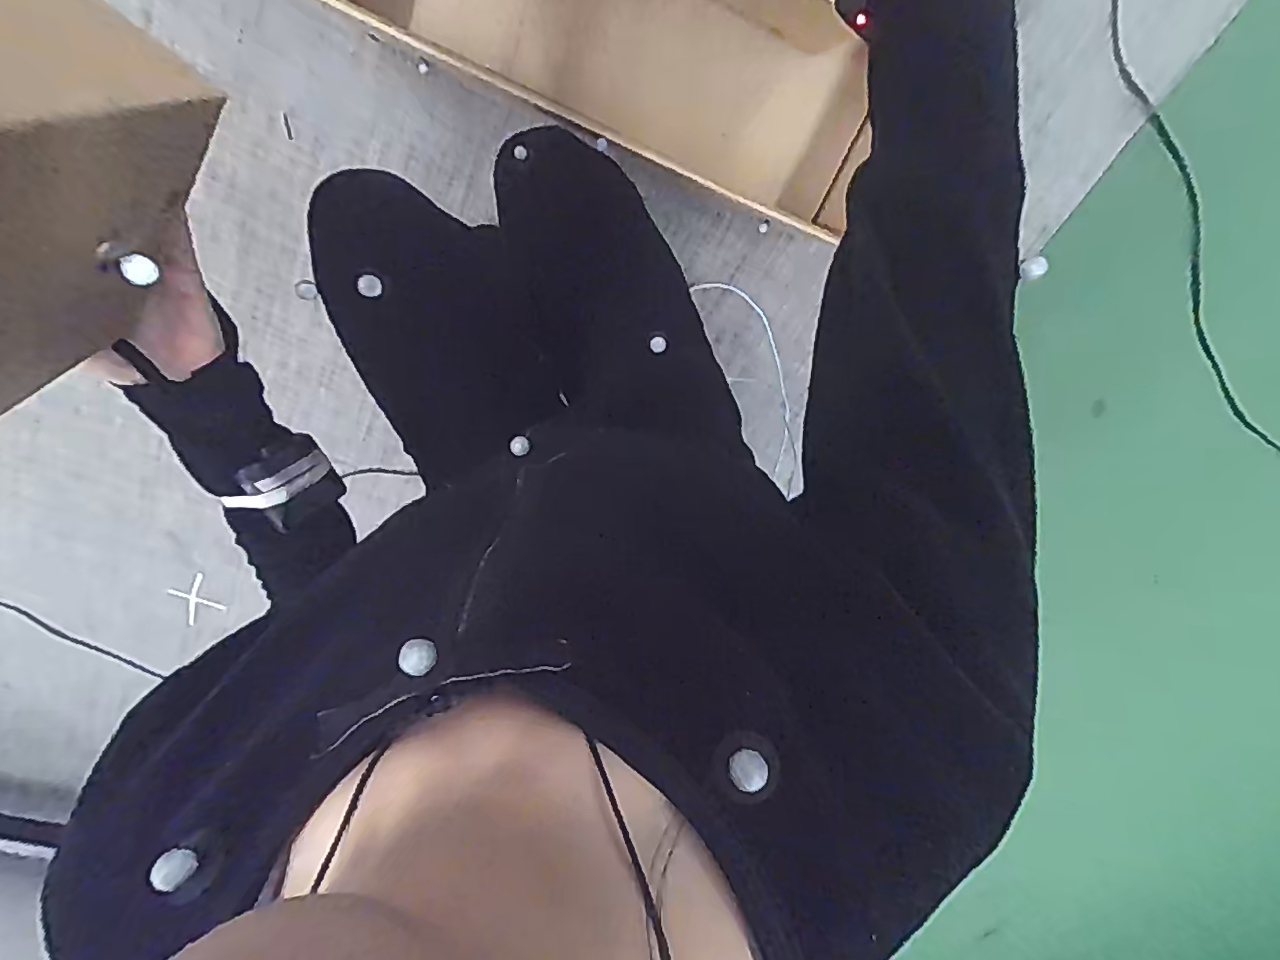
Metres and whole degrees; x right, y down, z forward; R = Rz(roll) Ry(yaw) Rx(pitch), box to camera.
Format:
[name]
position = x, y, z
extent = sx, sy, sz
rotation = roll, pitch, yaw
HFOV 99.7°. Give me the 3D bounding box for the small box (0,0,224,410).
[small box]
position = -0.322, -0.133, 0.212
extent = 0.179, 0.176, 0.168
rotation = 33, 119, -29
